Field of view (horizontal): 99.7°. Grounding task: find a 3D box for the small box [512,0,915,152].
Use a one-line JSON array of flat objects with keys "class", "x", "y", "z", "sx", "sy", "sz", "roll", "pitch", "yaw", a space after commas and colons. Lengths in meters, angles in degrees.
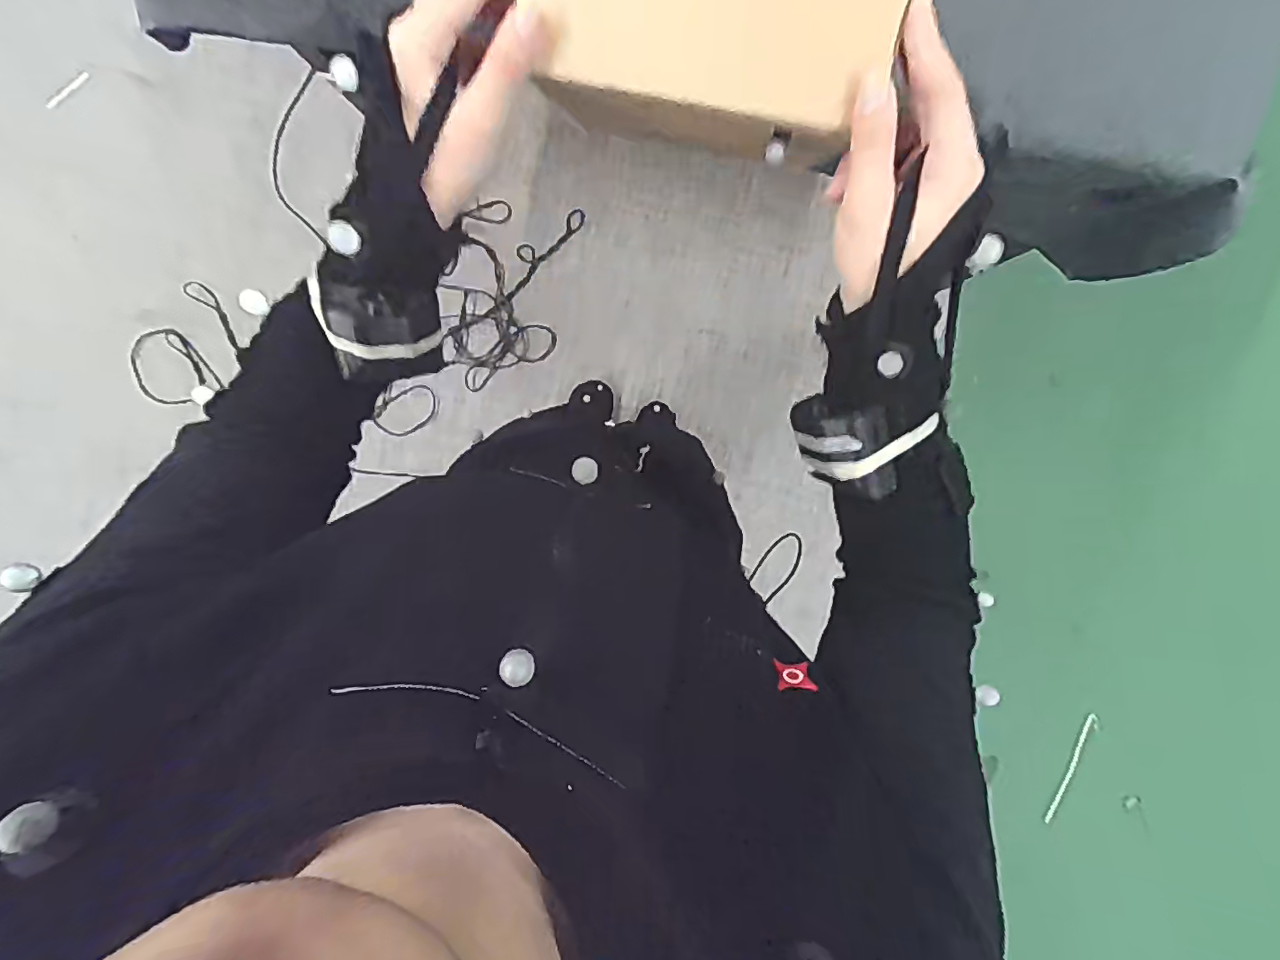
[{"class": "small box", "x": 0.043, "y": -0.288, "z": 0.287, "sx": 0.179, "sy": 0.176, "sz": 0.168, "roll": 9, "pitch": 116, "yaw": -2}]
